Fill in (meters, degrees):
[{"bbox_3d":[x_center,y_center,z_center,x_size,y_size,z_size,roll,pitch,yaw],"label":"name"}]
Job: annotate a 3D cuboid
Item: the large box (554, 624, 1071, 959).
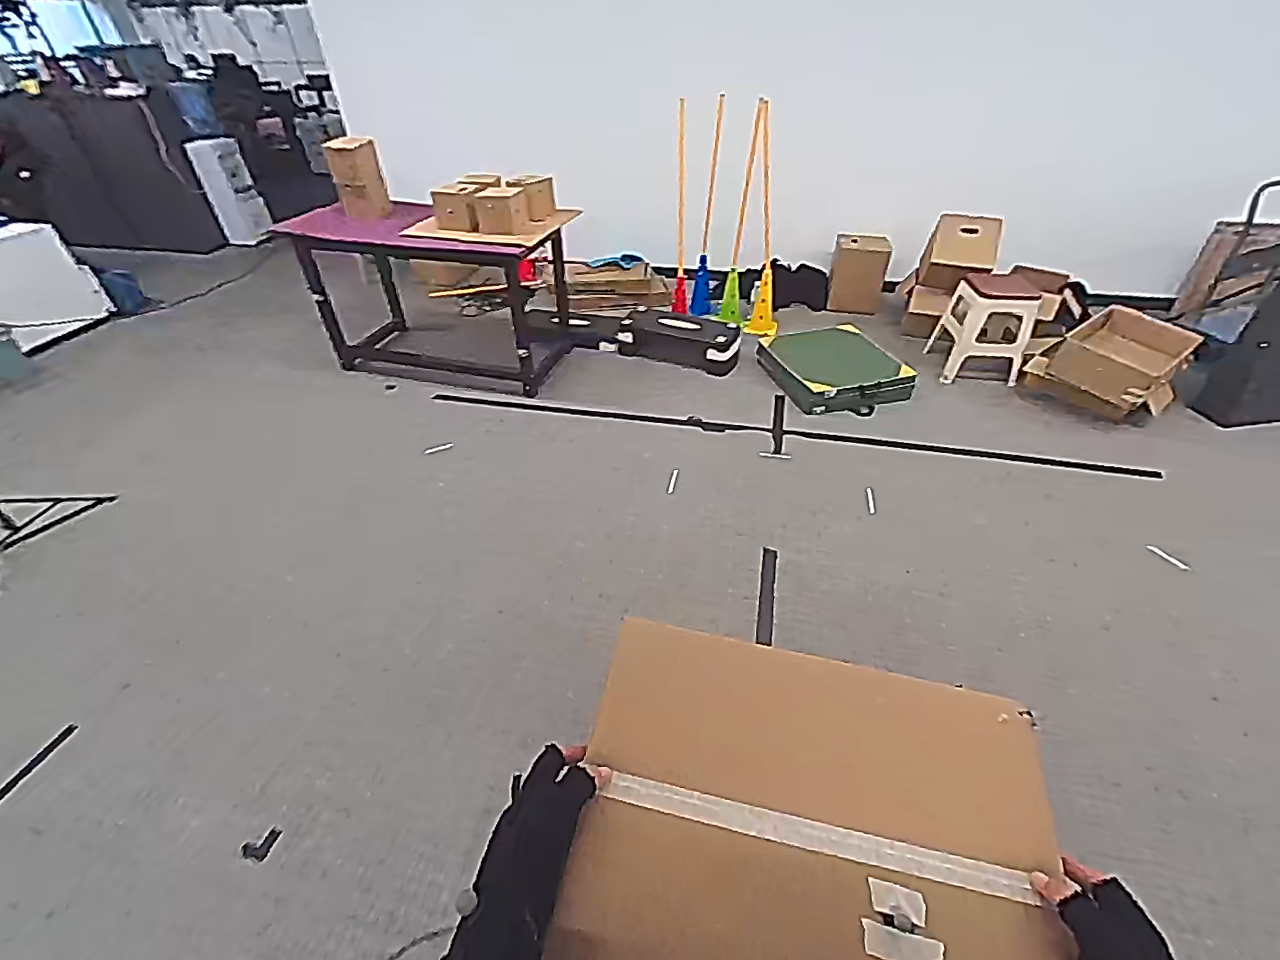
[{"bbox_3d":[0.149,0.396,0.592,0.408,0.320,0.320,10,53,7],"label":"large box"}]
